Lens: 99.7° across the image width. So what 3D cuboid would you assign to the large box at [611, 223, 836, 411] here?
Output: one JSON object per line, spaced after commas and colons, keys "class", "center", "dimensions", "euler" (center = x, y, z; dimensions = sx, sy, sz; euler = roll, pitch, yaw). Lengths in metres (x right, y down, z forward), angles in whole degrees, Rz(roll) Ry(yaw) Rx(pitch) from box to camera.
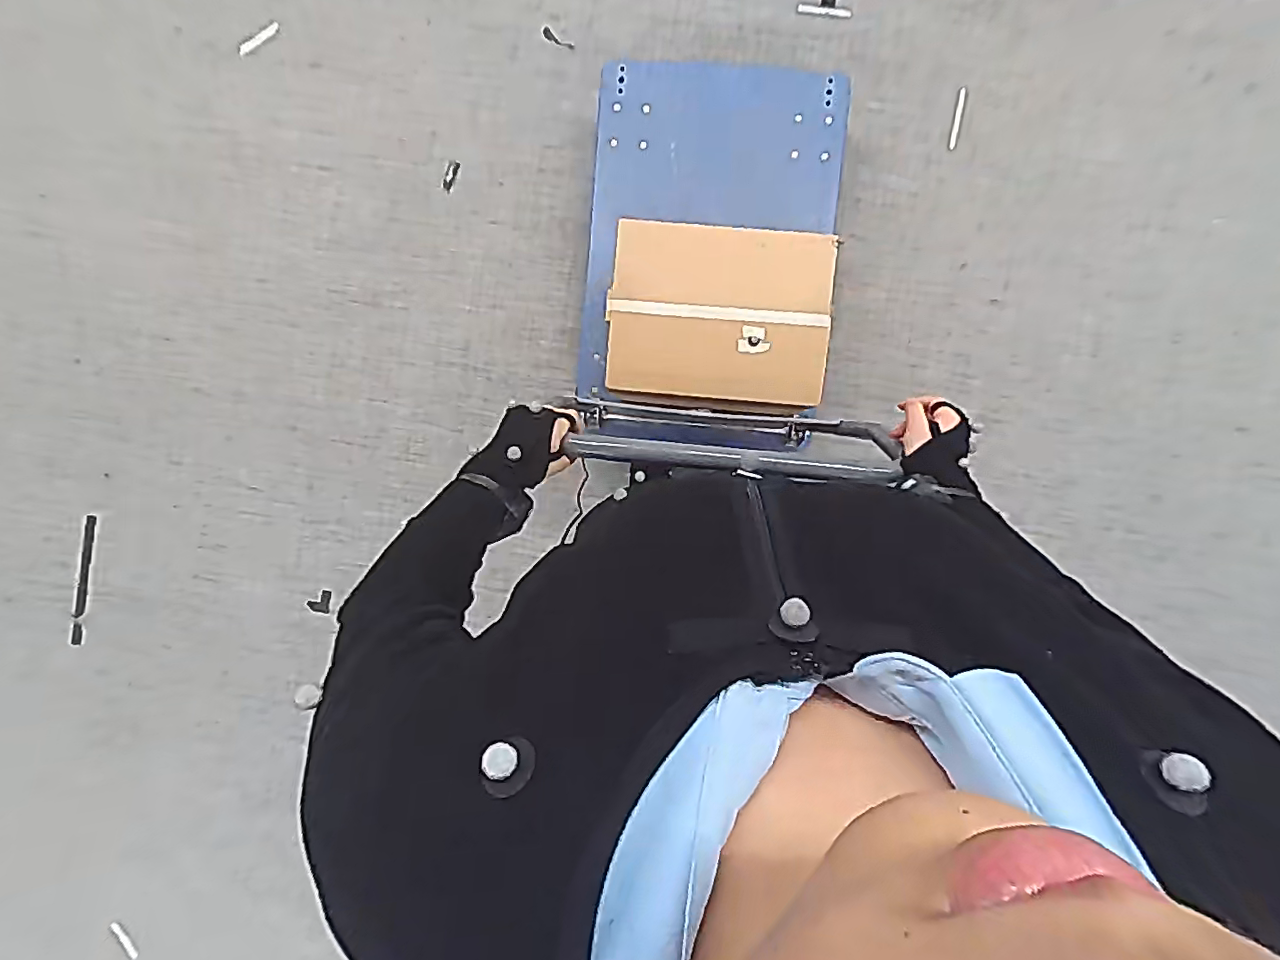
{"class": "large box", "center": [0.155, -0.321, 1.156], "dimensions": [0.408, 0.320, 0.320], "euler": [5, 95, 1]}
